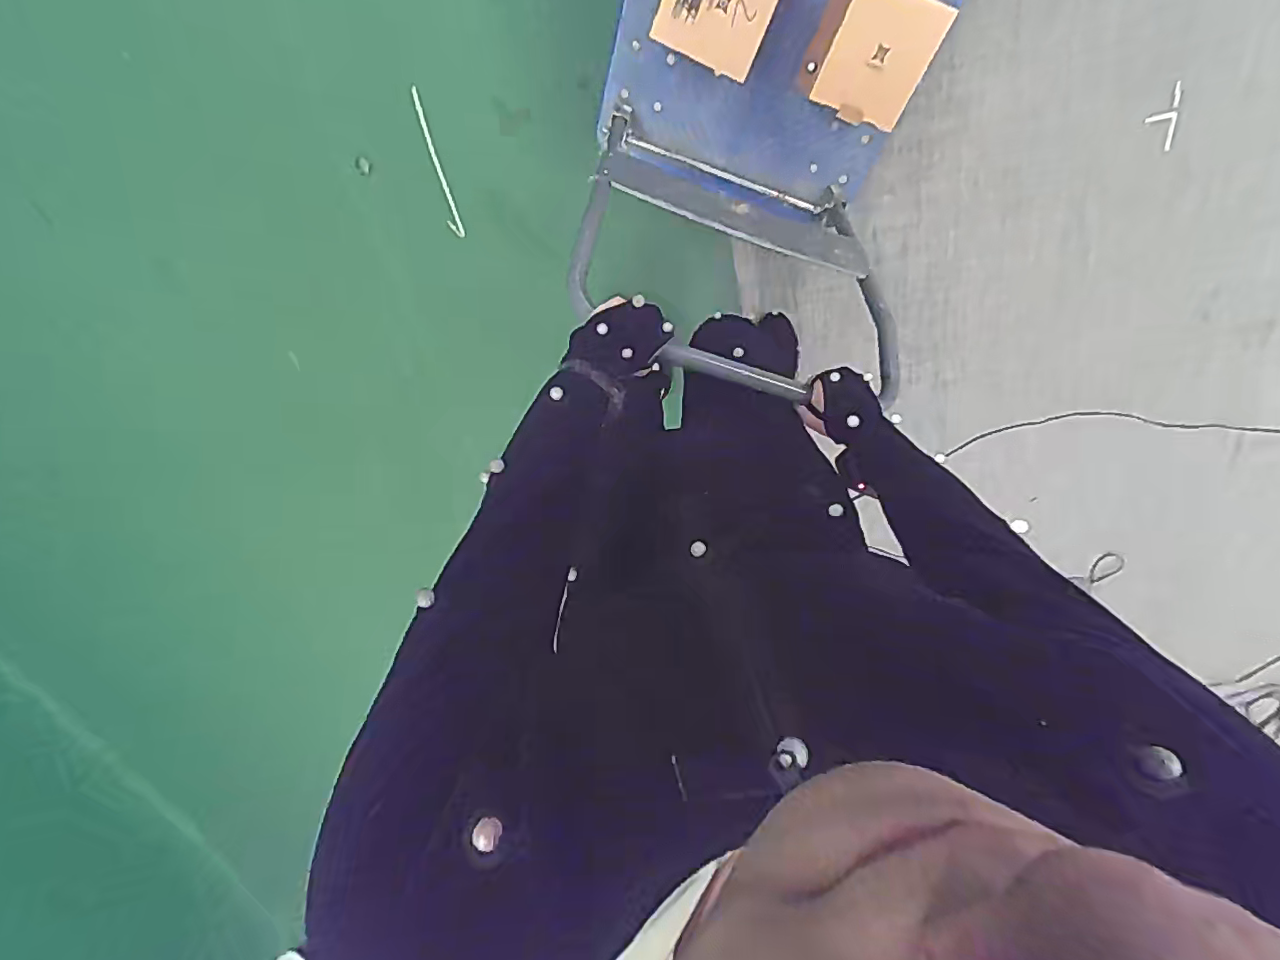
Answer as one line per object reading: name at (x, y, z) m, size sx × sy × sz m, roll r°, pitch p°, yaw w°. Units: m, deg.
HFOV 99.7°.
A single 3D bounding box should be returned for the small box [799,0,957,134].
small box at (0.396, -0.747, 0.941) m, size 0.168 × 0.176 × 0.179 m, roll 15°, pitch 135°, yaw -11°
